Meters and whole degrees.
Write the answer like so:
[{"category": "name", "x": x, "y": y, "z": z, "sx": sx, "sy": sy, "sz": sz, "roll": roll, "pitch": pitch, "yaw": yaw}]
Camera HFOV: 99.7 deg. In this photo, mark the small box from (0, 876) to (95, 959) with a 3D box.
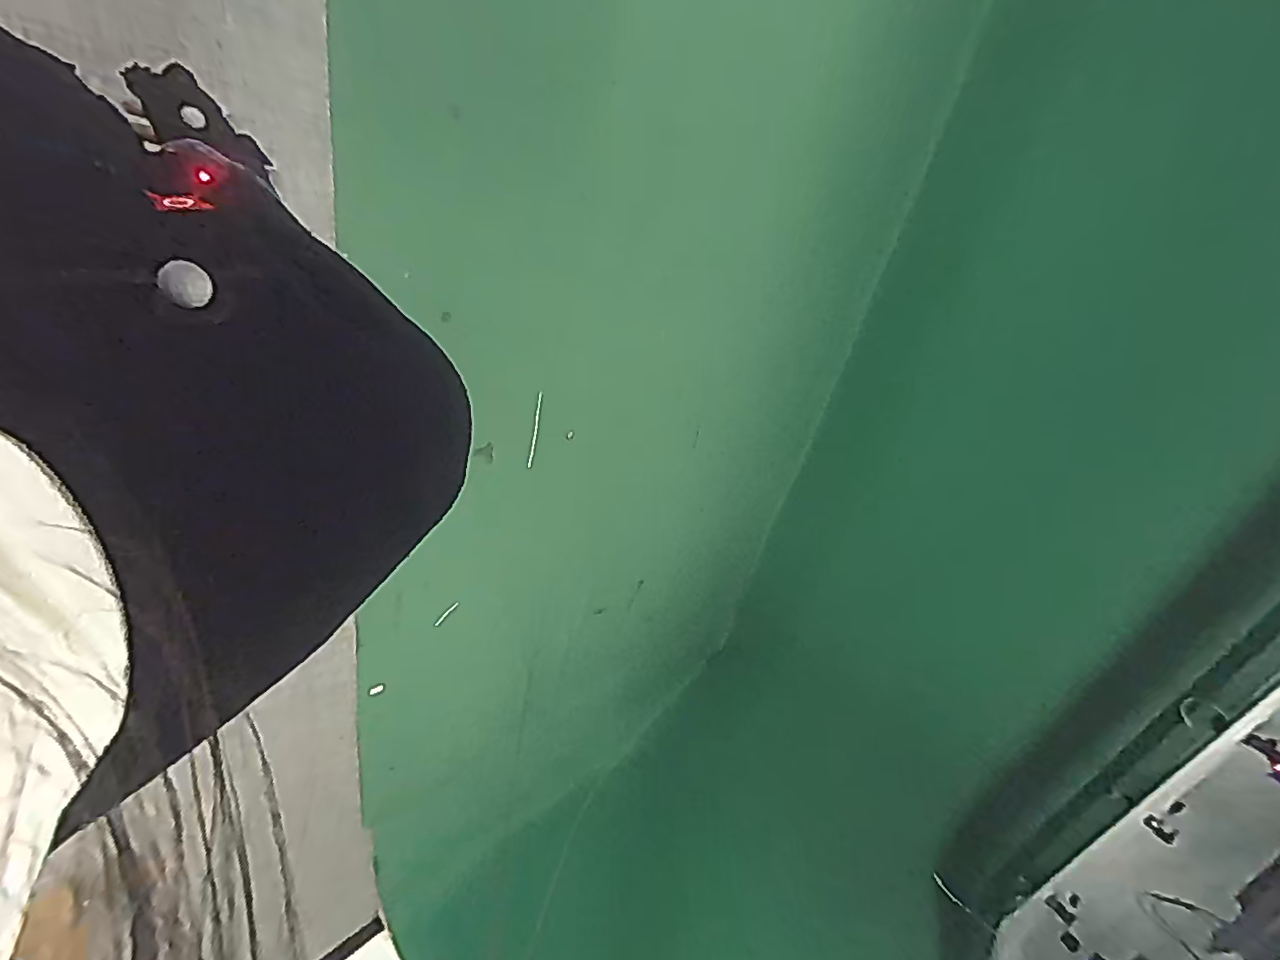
[{"category": "small box", "x": -1.673, "y": 1.273, "z": 1.508, "sx": 0.179, "sy": 0.176, "sz": 0.168, "roll": -19, "pitch": 133, "yaw": -45}]
